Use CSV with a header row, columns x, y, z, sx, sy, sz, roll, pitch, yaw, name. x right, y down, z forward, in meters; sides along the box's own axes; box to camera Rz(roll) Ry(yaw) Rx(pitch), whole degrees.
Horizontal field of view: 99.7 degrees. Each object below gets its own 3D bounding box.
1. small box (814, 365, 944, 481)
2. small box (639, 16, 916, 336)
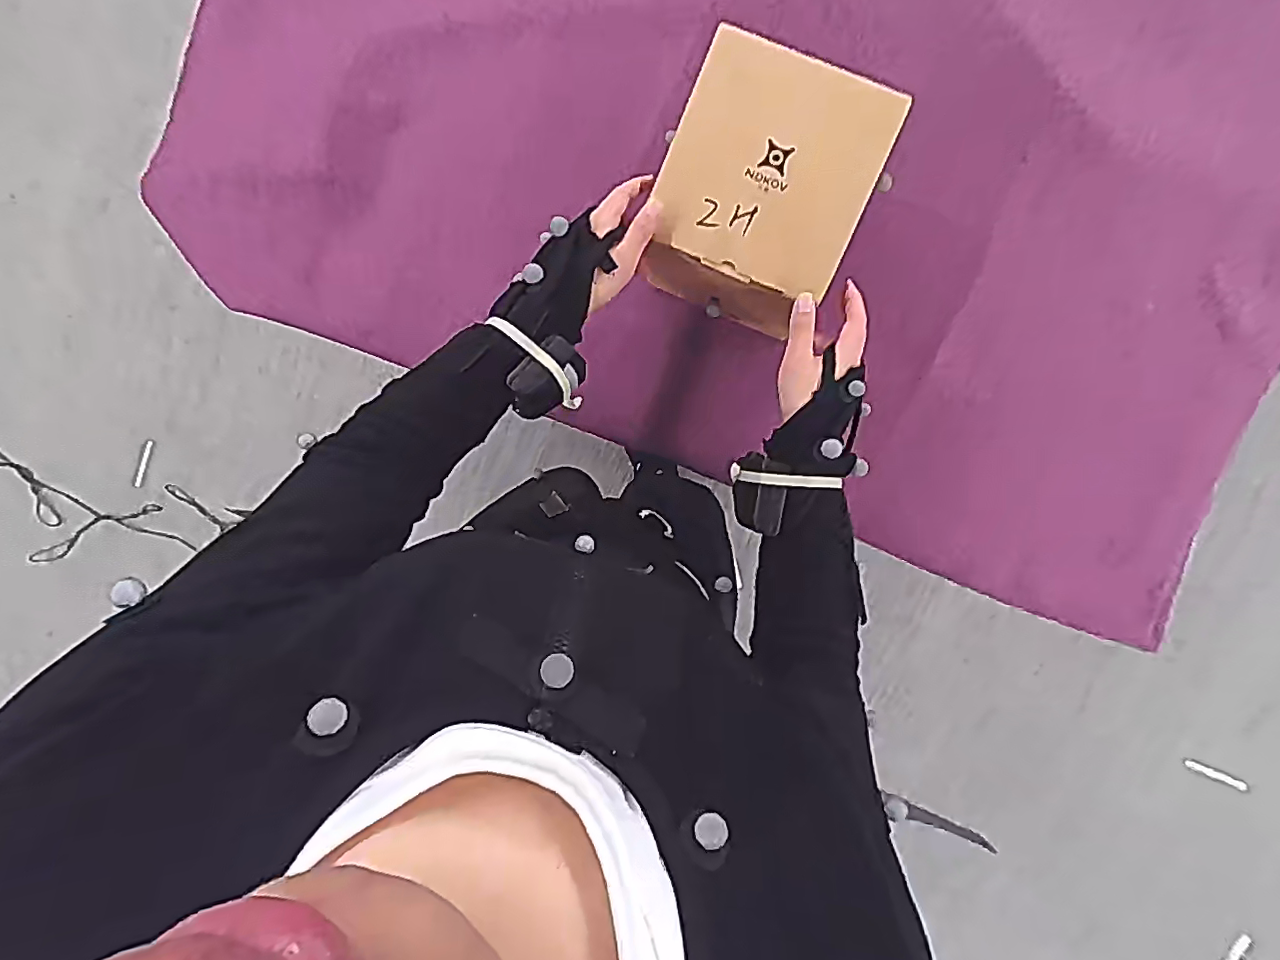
x,y,z,sx,sy,sz,roll,pitch,yaw,name
0.473,-0.115,1.106,0.168,0.176,0.179,24,97,3,small box
0.111,-0.257,0.504,0.168,0.176,0.179,24,97,3,small box
